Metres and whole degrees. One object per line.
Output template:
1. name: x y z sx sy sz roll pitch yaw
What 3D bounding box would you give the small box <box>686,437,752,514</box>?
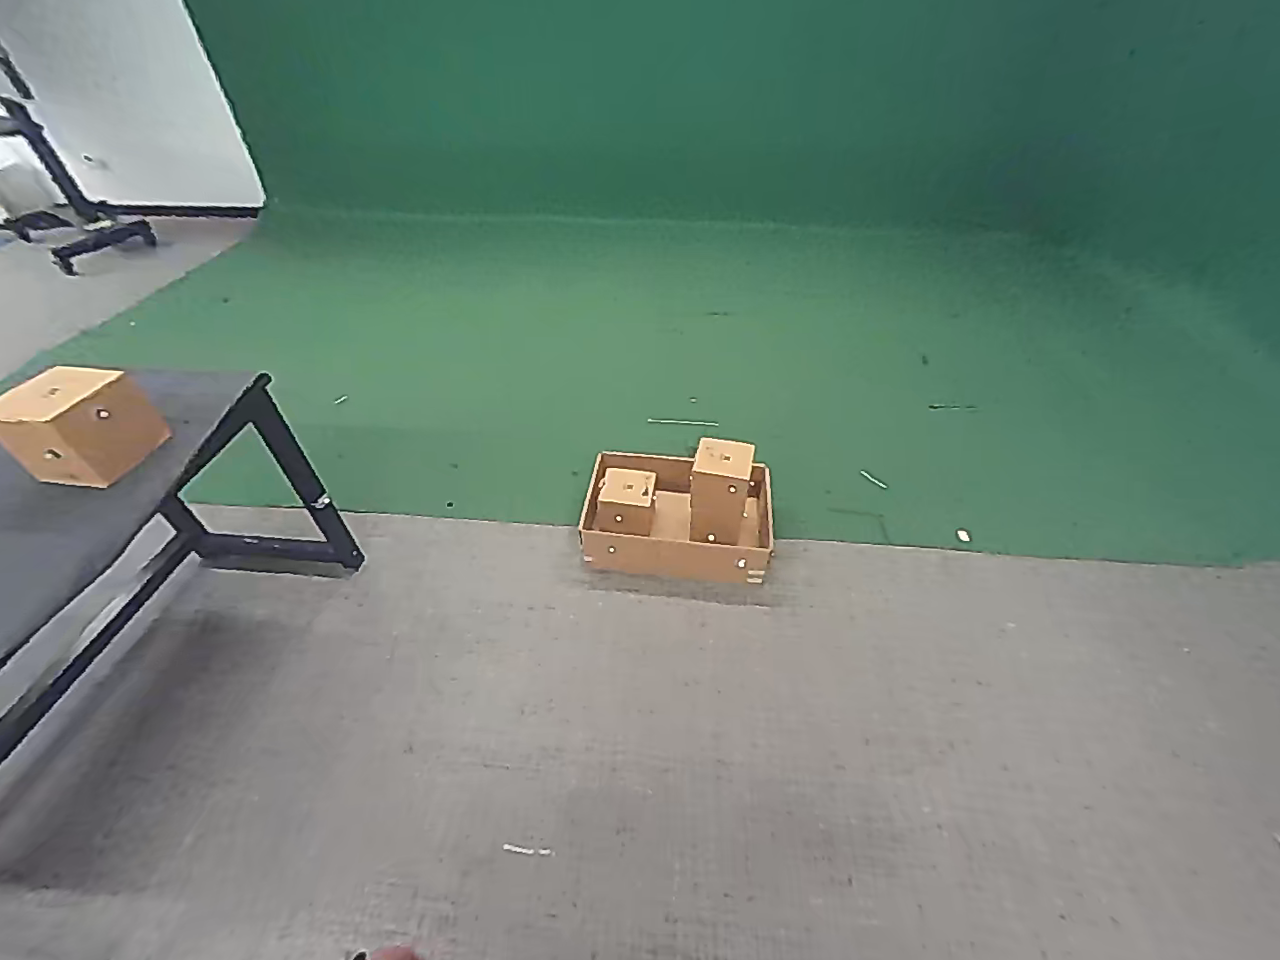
1. small box: 0.251 -0.011 1.727 0.179 0.176 0.168 10 45 11

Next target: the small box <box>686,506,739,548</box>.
1. small box: 0.251 0.103 1.845 0.168 0.176 0.179 10 46 10

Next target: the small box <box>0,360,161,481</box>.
1. small box: -1.124 -0.117 1.074 0.168 0.176 0.179 6 43 6
